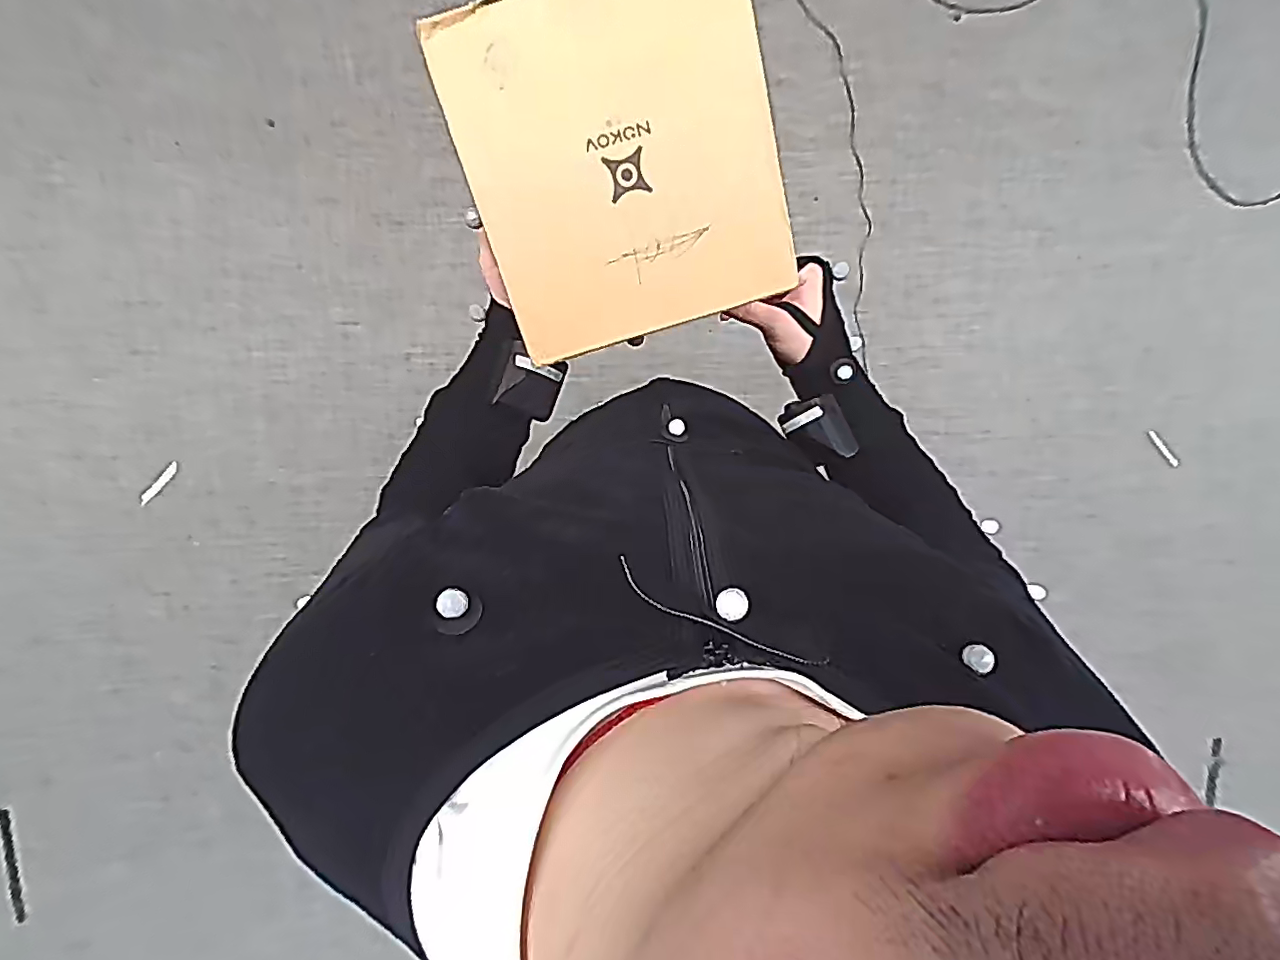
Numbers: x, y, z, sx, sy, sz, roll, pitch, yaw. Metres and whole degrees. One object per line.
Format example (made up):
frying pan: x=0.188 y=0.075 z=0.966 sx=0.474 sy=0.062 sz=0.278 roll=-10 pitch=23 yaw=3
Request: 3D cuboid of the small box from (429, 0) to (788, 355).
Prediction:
small box: x=-0.016 y=-0.199 z=0.375 sx=0.168 sy=0.176 sz=0.179 roll=-16 pitch=110 yaw=1
